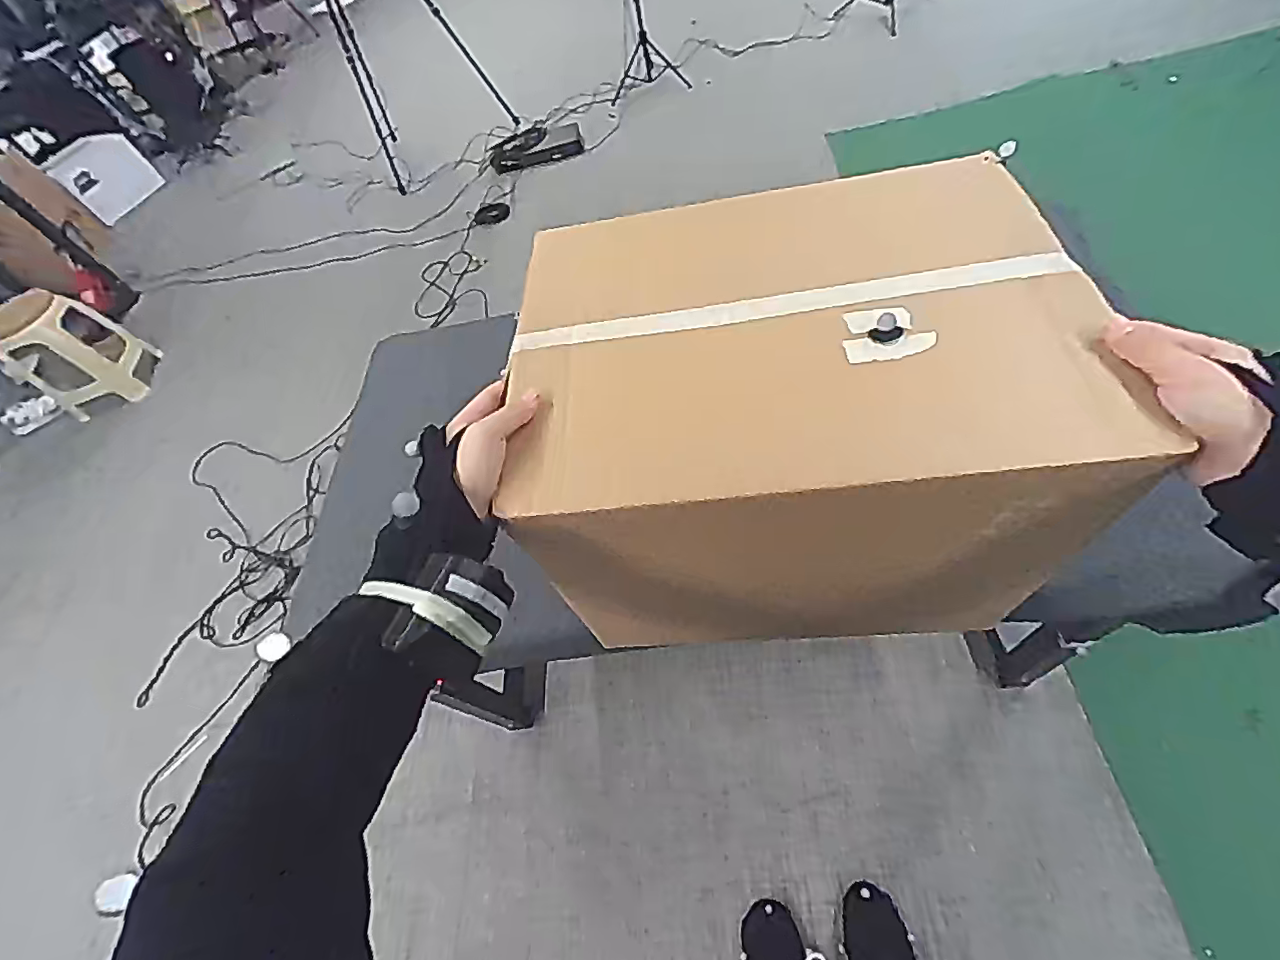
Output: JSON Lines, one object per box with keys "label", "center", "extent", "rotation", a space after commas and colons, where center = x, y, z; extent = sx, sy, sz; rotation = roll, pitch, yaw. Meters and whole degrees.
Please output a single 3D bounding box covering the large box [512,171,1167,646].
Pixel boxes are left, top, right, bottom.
{"label": "large box", "center": [0.129, -0.043, 0.537], "extent": [0.408, 0.320, 0.320], "rotation": [-6, 57, 8]}
